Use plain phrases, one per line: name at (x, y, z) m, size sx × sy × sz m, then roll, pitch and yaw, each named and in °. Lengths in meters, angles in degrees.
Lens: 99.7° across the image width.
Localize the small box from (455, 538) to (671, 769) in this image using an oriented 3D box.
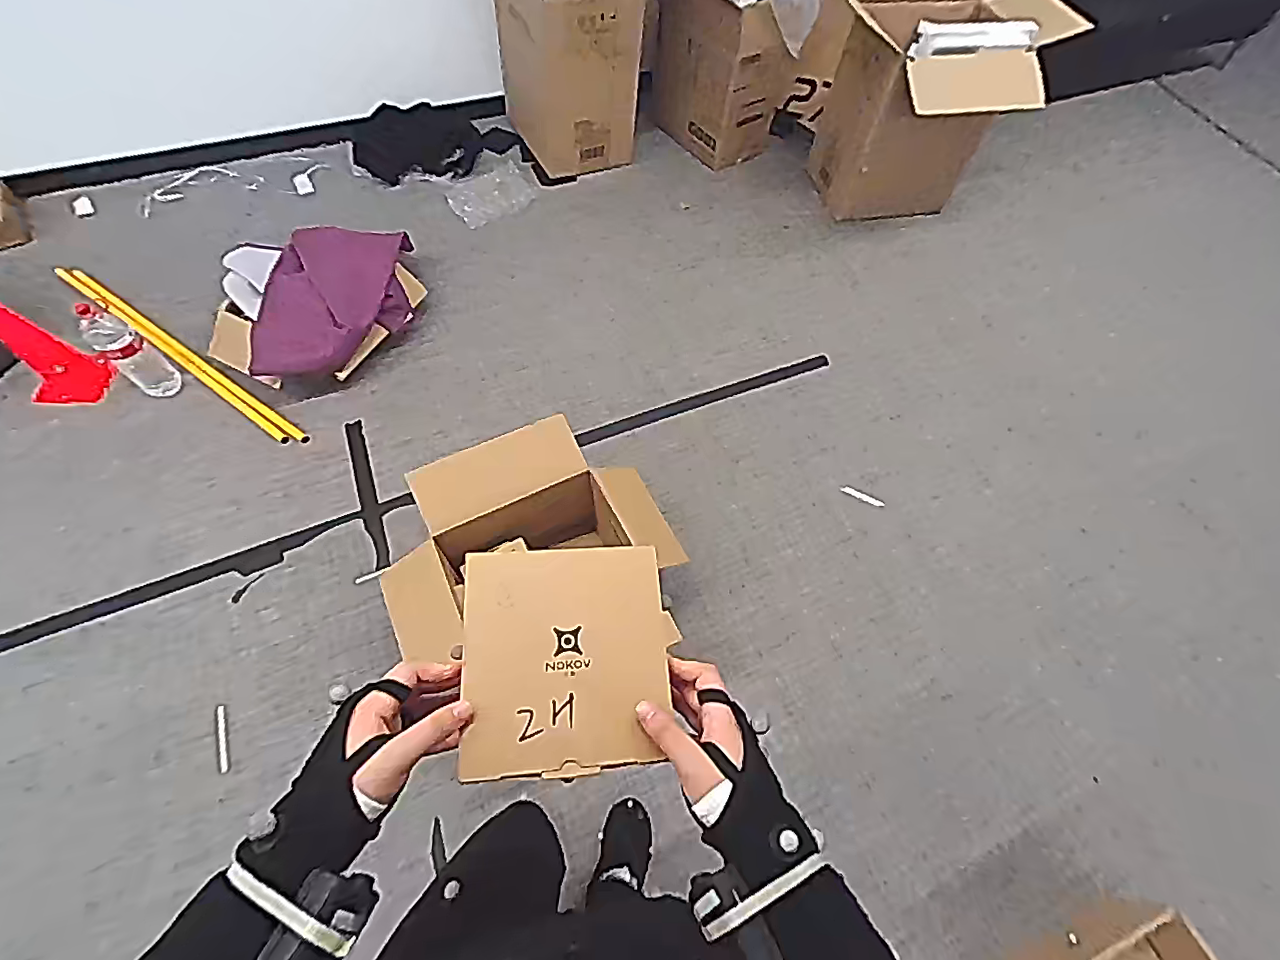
small box at (-0.074, 0.166, 0.515) m, size 0.168 × 0.176 × 0.179 m, roll -2°, pitch 66°, yaw -9°
